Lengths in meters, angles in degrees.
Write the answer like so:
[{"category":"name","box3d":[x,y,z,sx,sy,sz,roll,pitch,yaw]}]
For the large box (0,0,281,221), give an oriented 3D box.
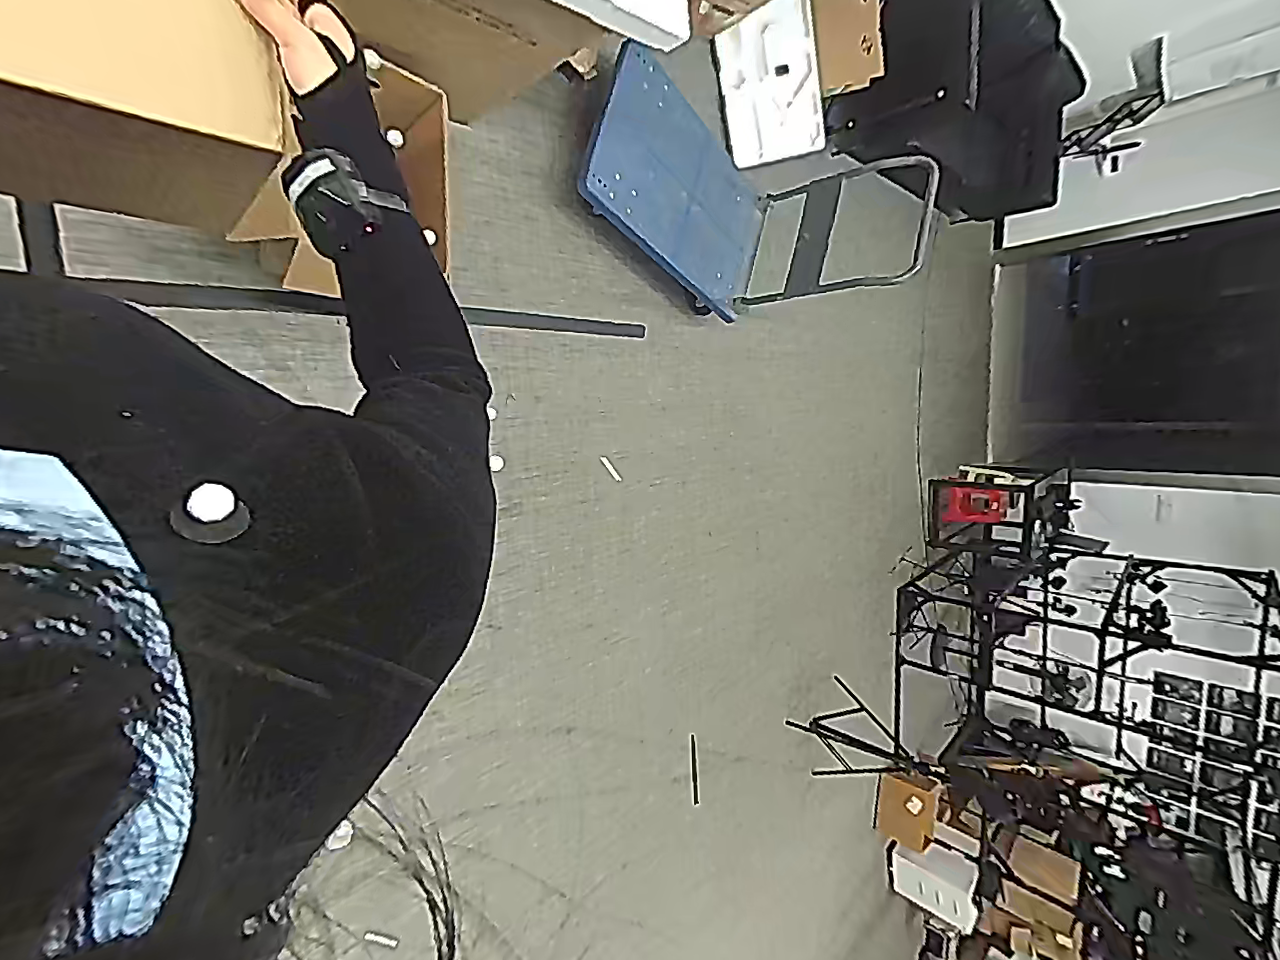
[{"category":"large box","box3d":[-0.542,-0.418,0.396,0.408,0.320,0.320,-8,102,-43]}]
